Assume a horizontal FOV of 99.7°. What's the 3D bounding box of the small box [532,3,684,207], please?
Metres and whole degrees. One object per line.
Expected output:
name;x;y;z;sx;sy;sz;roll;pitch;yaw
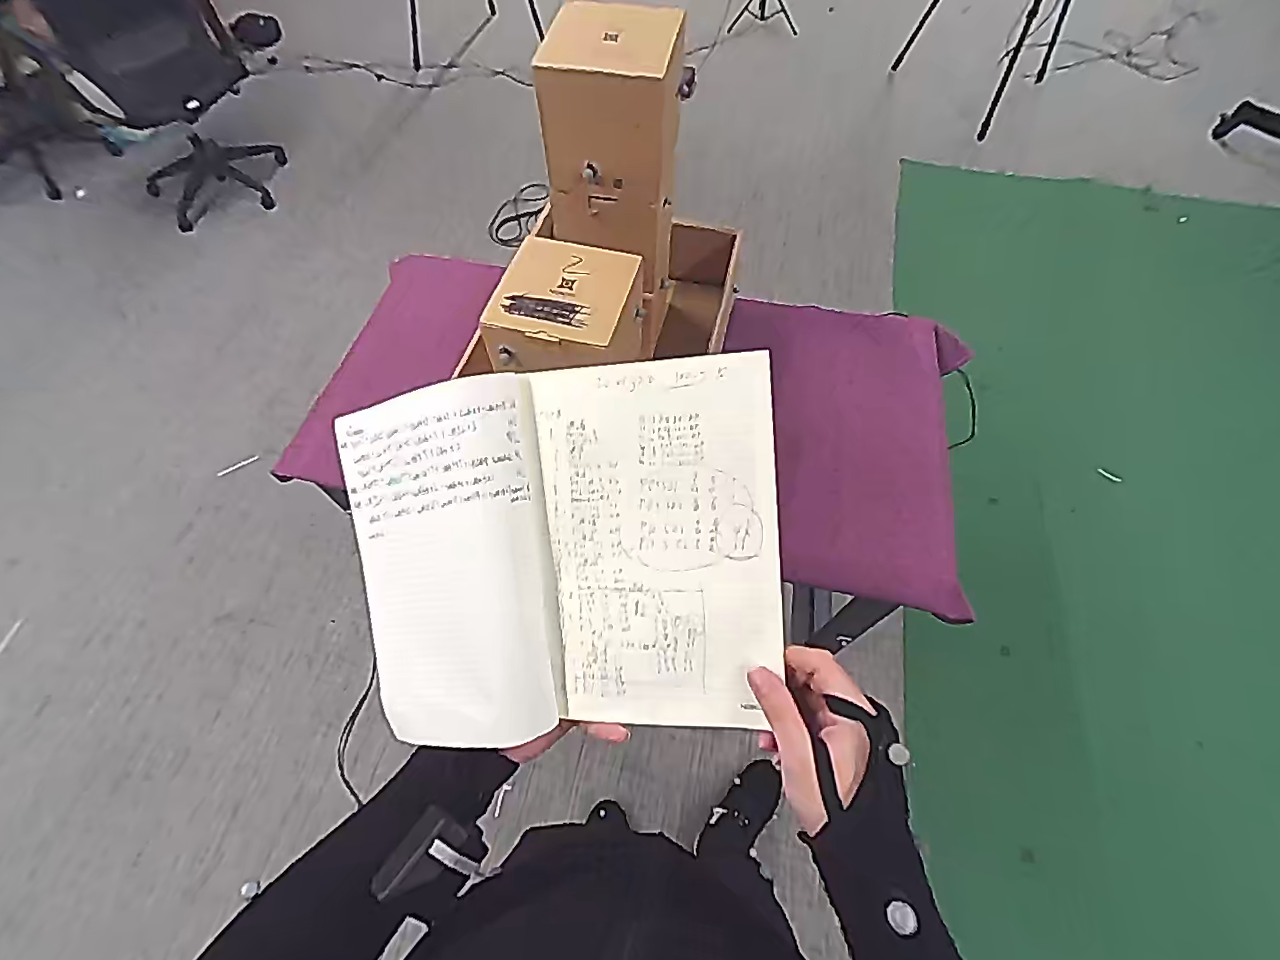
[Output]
small box;-0.038;-0.521;0.760;0.168;0.176;0.179;10;63;5

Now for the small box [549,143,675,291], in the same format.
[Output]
small box;-0.039;-0.444;0.904;0.168;0.176;0.179;10;61;5

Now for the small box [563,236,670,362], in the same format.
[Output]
small box;-0.041;-0.358;1.044;0.168;0.176;0.179;10;63;5
